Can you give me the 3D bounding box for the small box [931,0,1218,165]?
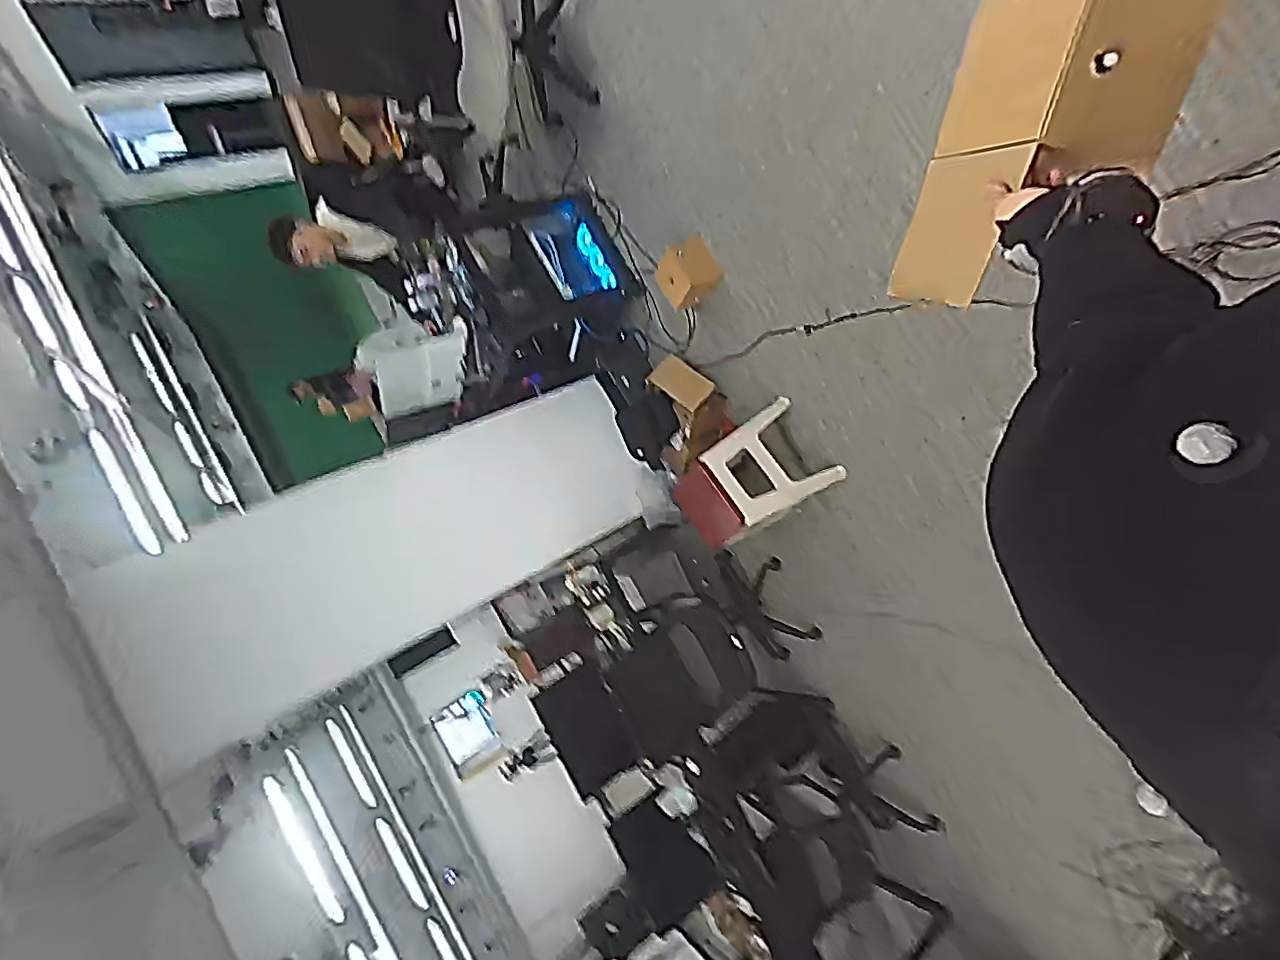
[{"bbox_3d":[0.480,-0.469,0.612,0.168,0.176,0.179,-119,33,-62],"label":"small box"}]
